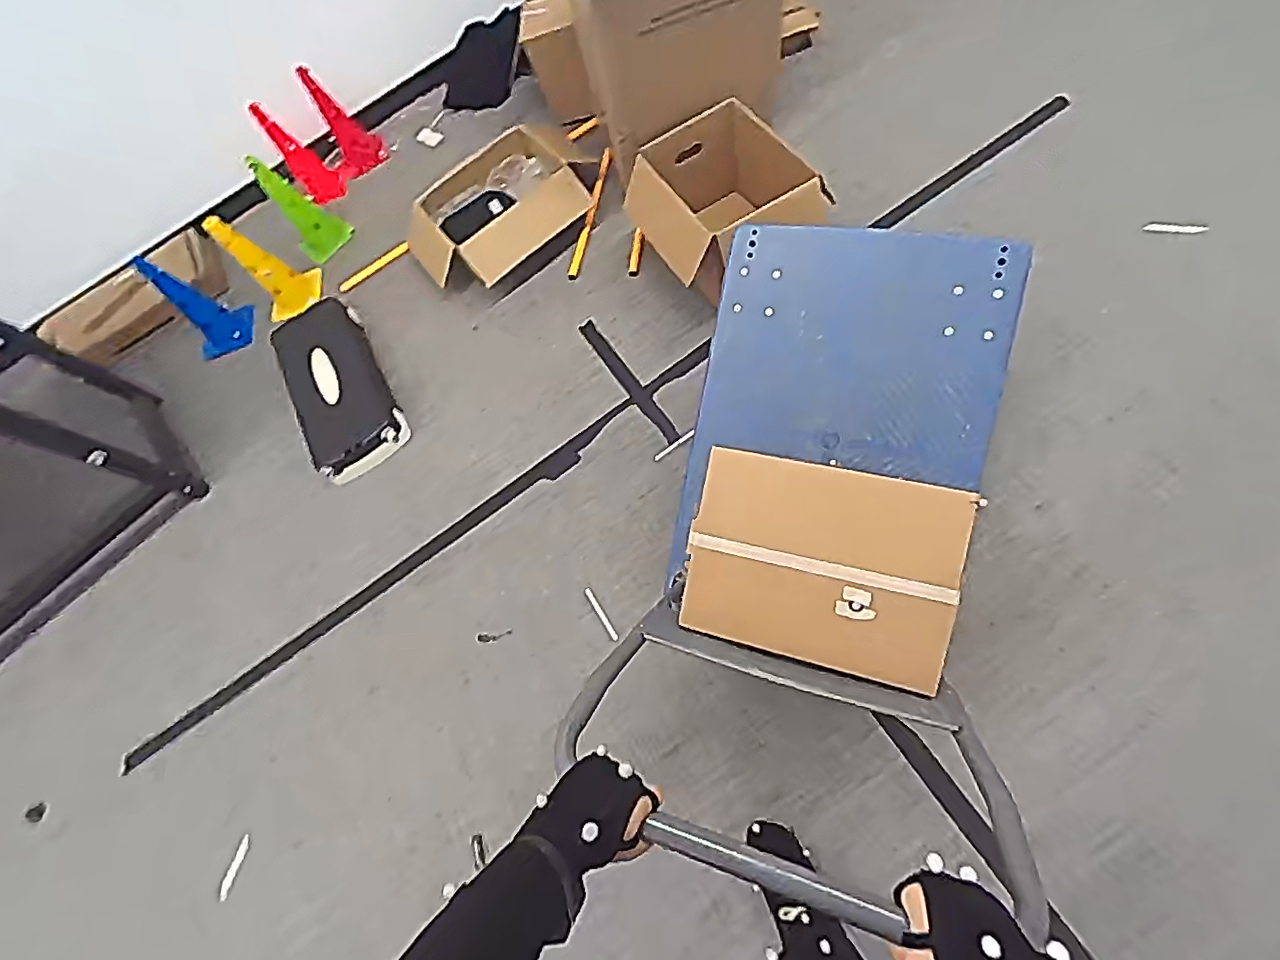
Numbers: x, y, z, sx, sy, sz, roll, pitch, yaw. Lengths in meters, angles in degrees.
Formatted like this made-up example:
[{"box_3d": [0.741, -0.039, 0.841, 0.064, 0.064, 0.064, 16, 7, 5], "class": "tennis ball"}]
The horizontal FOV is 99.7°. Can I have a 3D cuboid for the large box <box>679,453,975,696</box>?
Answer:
[{"box_3d": [0.315, 0.138, 0.988, 0.408, 0.320, 0.320, 11, 94, 16], "class": "large box"}]
